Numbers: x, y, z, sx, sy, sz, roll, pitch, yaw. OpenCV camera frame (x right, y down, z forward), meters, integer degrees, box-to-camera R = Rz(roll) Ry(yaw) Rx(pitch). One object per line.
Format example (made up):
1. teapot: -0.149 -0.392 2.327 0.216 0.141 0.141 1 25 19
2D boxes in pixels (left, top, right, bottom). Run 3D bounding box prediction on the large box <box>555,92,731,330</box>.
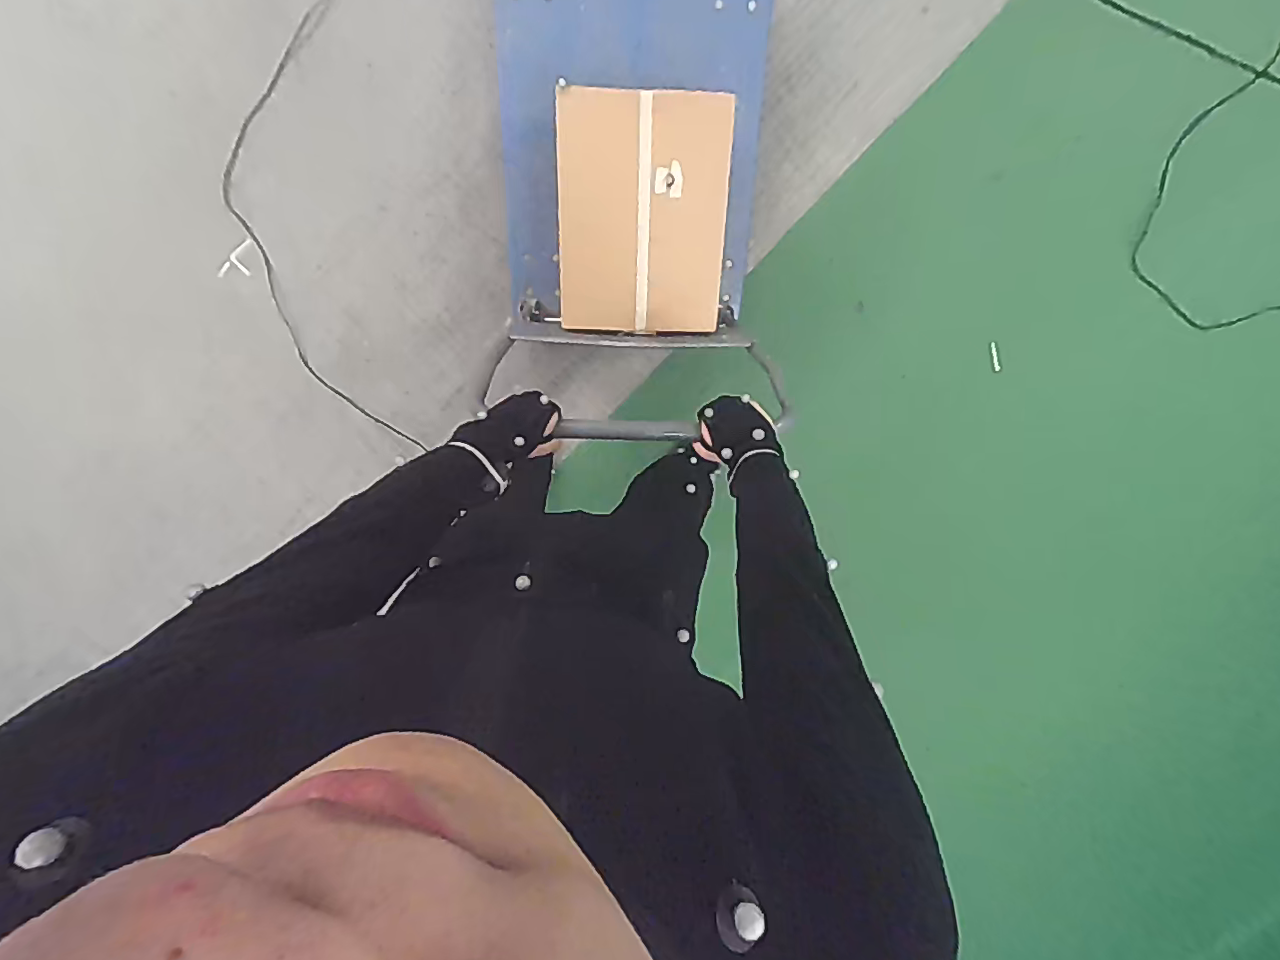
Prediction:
1. large box: 0.002 -0.541 1.147 0.320 0.320 0.408 0 113 -3
